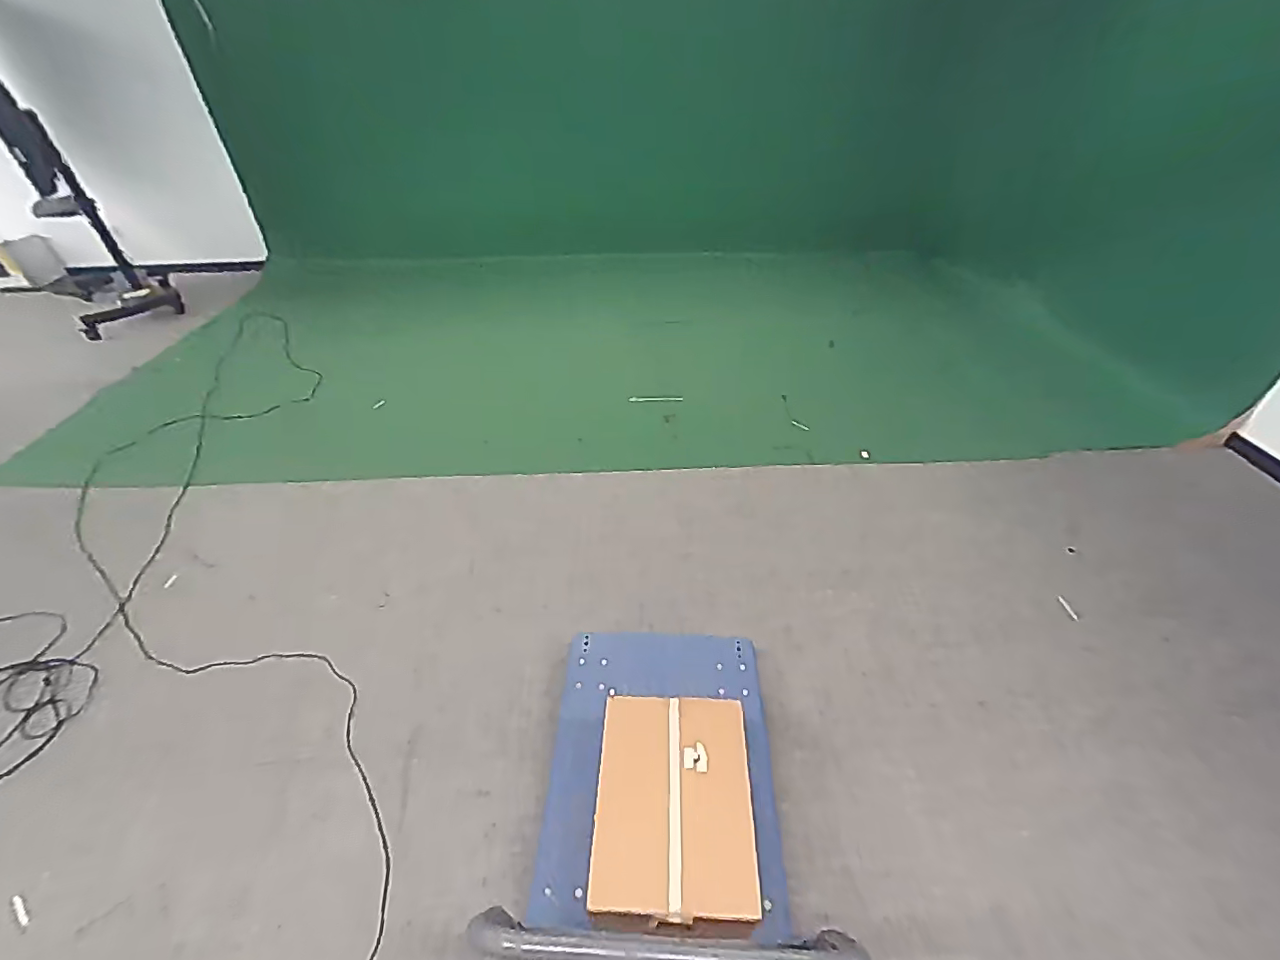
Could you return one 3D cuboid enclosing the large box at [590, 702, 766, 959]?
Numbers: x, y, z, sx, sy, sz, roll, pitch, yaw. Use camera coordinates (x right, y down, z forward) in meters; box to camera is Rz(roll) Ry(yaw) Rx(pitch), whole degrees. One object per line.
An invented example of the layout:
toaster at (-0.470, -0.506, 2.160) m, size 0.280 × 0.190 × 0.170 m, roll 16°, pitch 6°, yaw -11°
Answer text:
large box at (0.074, 0.754, 1.177) m, size 0.320 × 0.320 × 0.408 m, roll 2°, pitch 39°, yaw 2°
